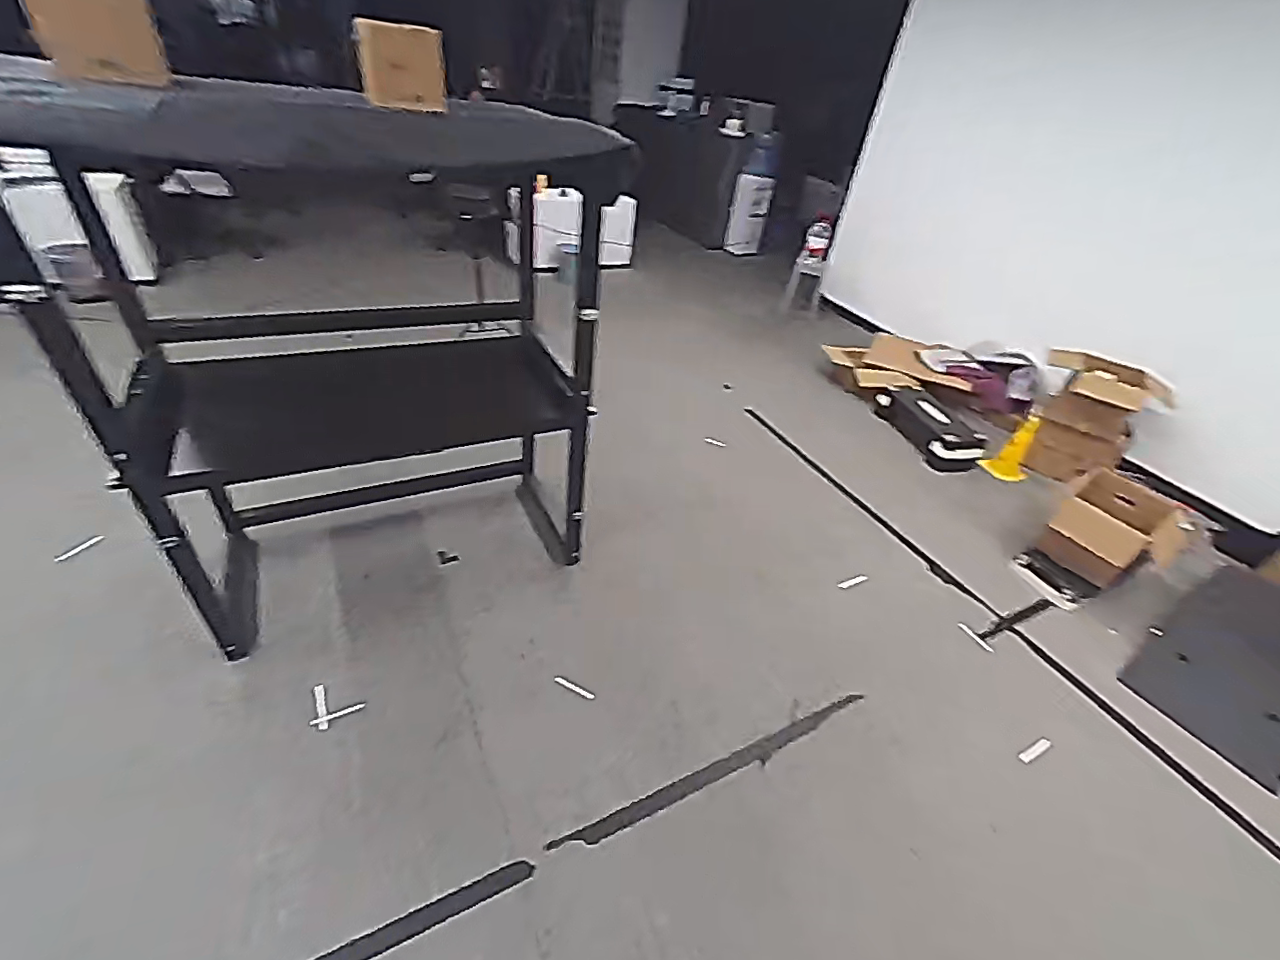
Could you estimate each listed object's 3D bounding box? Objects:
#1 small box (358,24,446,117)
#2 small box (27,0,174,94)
[{"bbox_3d":[-0.601,-1.036,1.373,0.168,0.176,0.179,-14,43,-26],"label":"small box"},{"bbox_3d":[-1.102,-0.912,1.115,0.179,0.176,0.168,-14,43,-28],"label":"small box"}]
